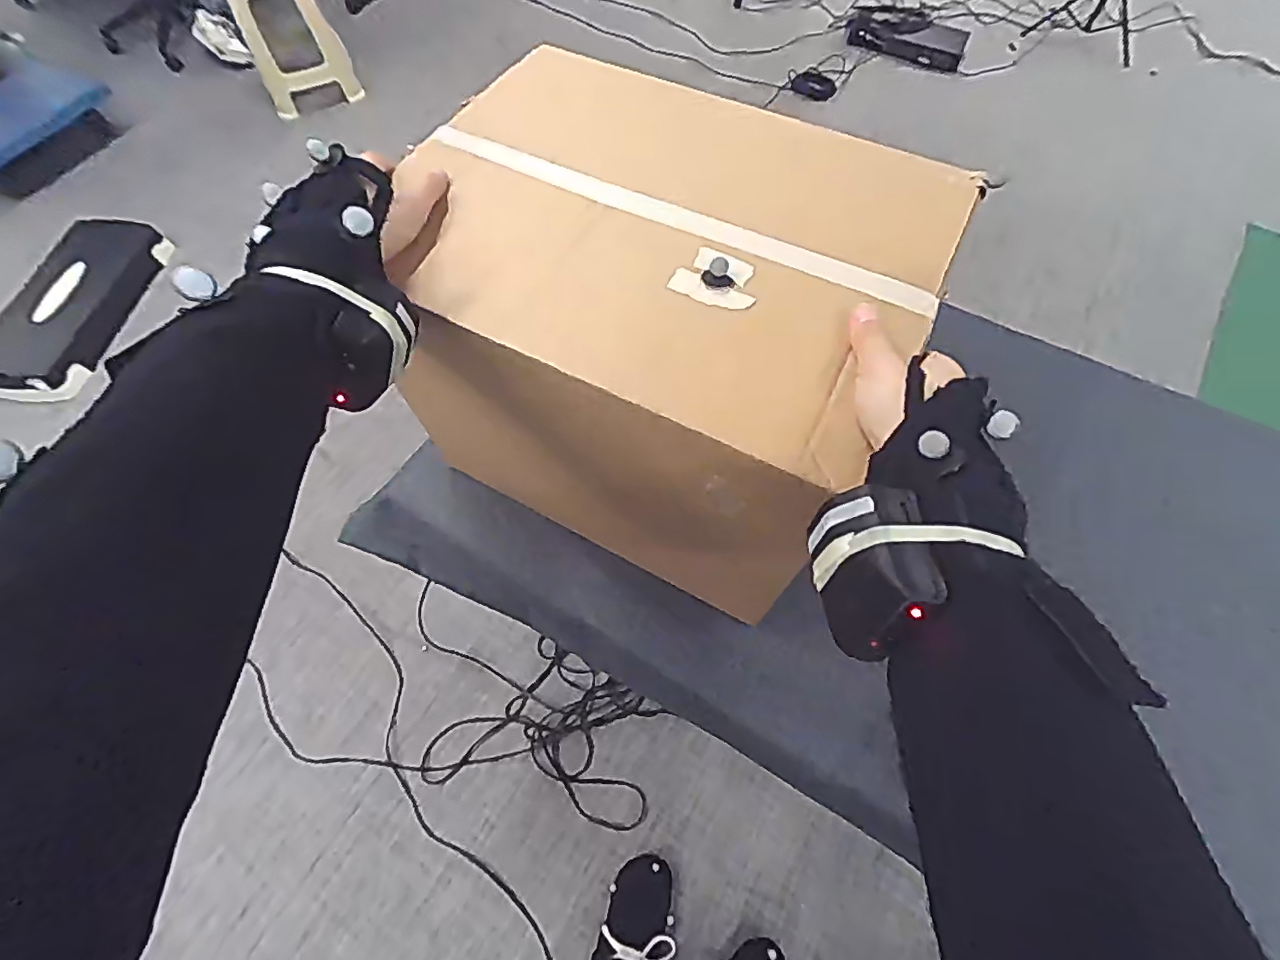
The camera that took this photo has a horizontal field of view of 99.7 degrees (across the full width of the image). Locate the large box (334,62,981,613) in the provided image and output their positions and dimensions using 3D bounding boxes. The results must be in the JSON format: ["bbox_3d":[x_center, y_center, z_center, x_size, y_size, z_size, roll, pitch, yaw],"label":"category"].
[{"bbox_3d":[0.022,-0.123,0.536,0.408,0.320,0.320,26,67,12],"label":"large box"}]
